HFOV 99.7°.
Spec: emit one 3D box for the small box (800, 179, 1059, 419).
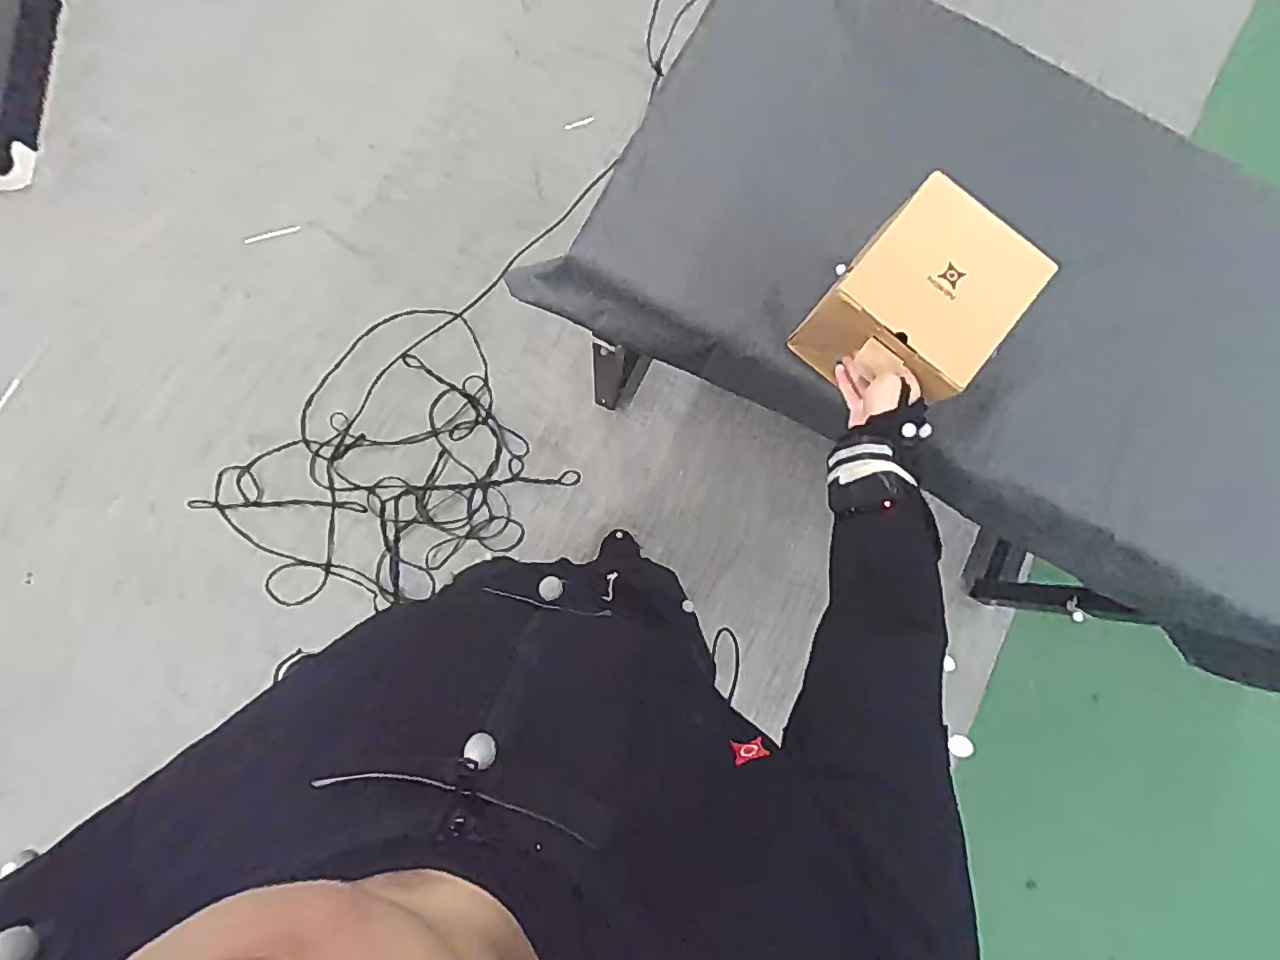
[{"bbox_3d":[0.322,-0.197,0.640,0.168,0.176,0.179,40,85,0],"label":"small box"}]
